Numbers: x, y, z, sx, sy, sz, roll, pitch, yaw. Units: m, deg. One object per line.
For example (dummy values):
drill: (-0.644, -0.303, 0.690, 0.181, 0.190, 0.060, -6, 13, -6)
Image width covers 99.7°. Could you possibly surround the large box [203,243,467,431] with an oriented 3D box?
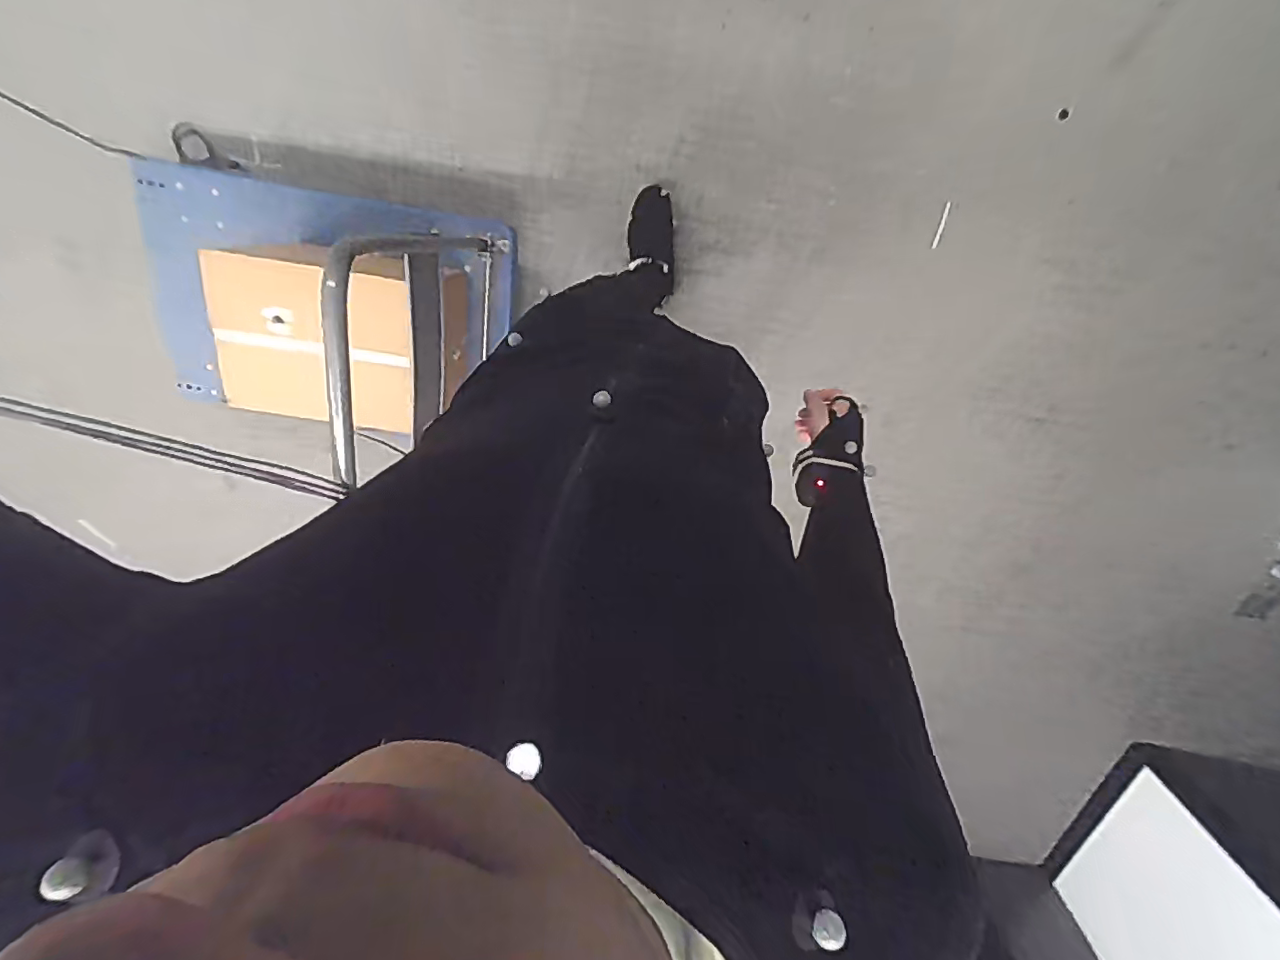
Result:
large box: (-0.631, -0.329, 1.205, 0.408, 0.320, 0.320, 9, 115, -2)
